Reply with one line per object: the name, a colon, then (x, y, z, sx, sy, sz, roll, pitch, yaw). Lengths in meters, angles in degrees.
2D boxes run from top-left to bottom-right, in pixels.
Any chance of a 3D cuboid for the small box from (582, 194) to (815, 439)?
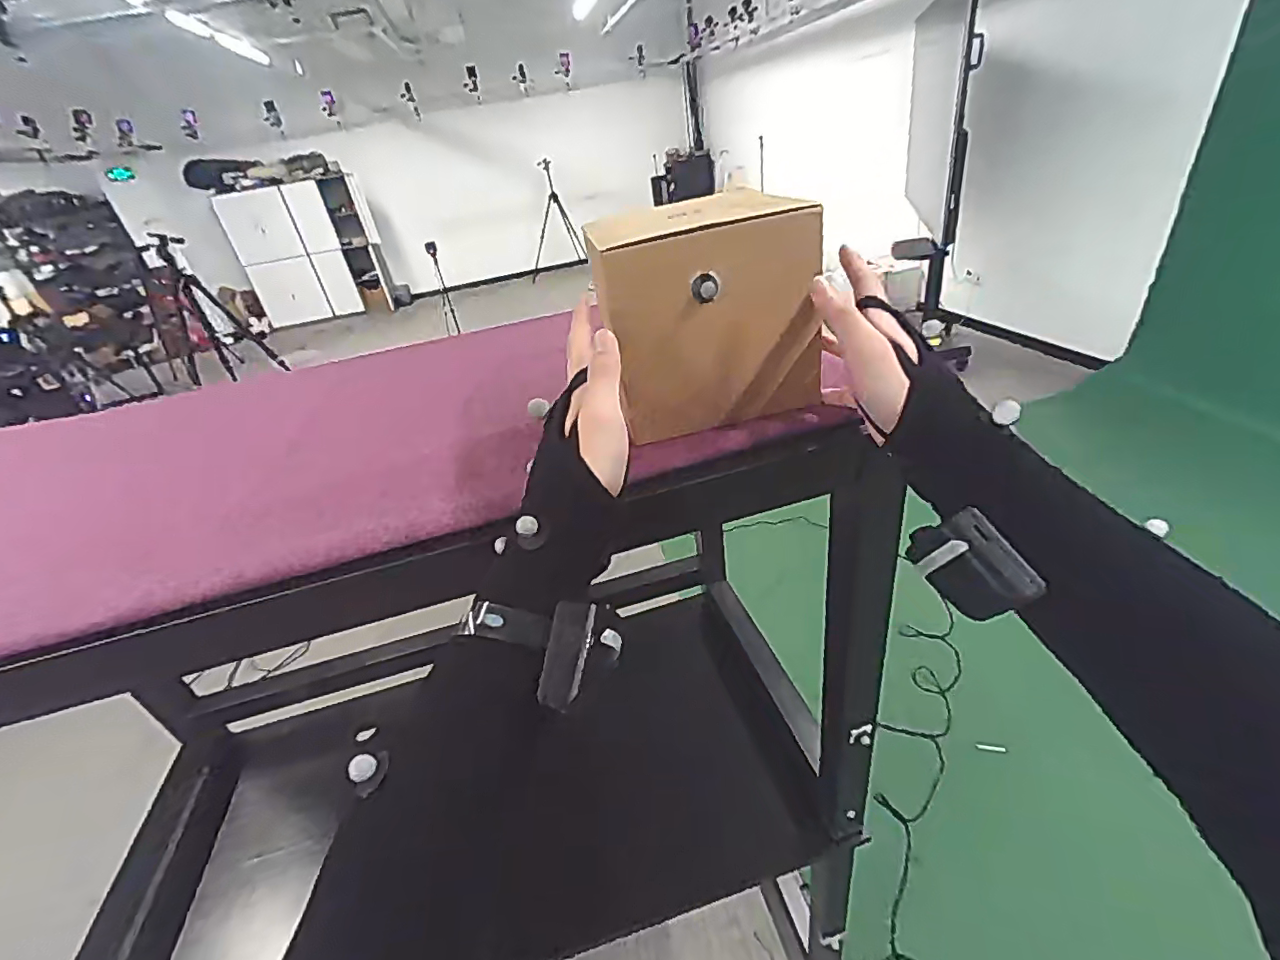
small box: (0.052, -0.155, 0.508, 0.179, 0.176, 0.168, -13, 33, -2)
